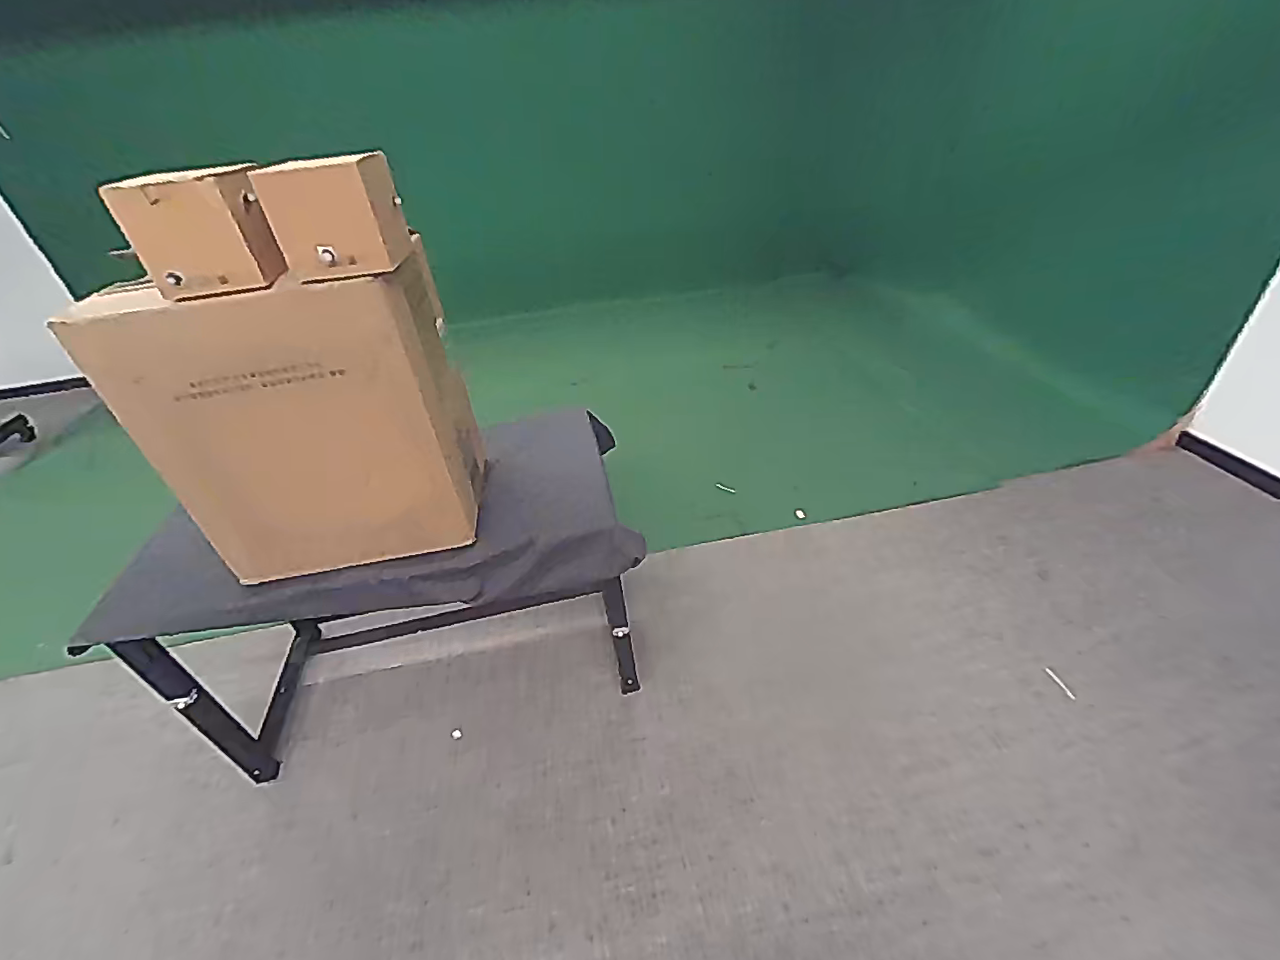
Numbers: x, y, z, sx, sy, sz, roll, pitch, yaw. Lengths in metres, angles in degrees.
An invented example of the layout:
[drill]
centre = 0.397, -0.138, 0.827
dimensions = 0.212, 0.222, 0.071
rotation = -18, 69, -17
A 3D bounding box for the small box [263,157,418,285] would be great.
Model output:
[small box]
centre = -0.508, -0.456, 0.950
dimensions = 0.168, 0.176, 0.179
rotation = -9, 37, -4
